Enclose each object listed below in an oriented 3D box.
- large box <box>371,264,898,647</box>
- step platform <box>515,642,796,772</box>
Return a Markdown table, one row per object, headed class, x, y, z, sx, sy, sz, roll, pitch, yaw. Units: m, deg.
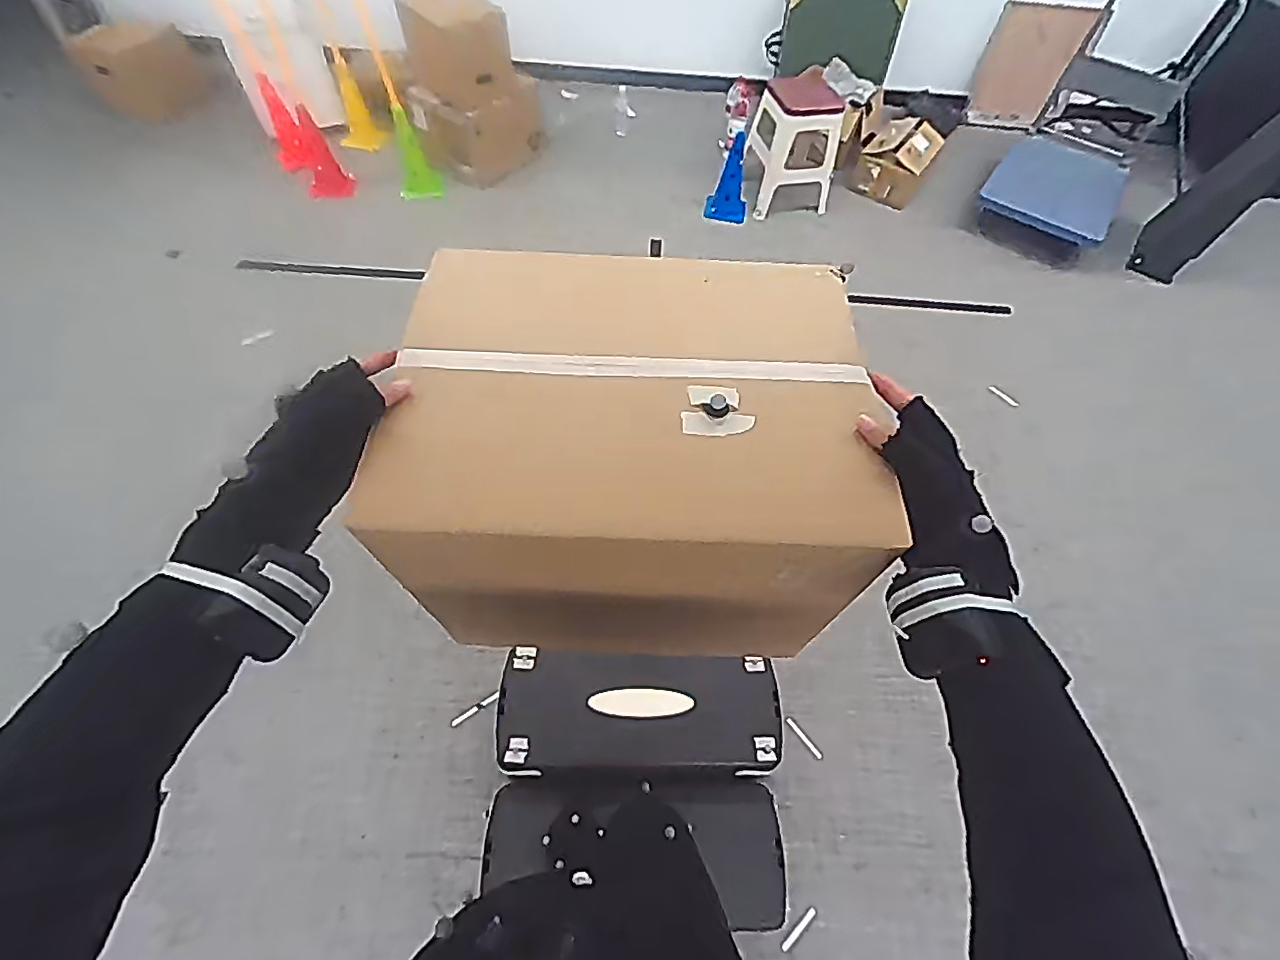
| class | x | y | z | sx | sy | sz | roll | pitch | yaw |
| --- | --- | --- | --- | --- | --- | --- | --- | --- | --- |
| large box | -0.007 | -0.009 | 0.605 | 0.408 | 0.320 | 0.320 | 2 | 59 | -1 |
| step platform | 0.036 | 0.565 | 1.359 | 0.684 | 0.204 | 0.286 | 2 | 58 | -4 |
